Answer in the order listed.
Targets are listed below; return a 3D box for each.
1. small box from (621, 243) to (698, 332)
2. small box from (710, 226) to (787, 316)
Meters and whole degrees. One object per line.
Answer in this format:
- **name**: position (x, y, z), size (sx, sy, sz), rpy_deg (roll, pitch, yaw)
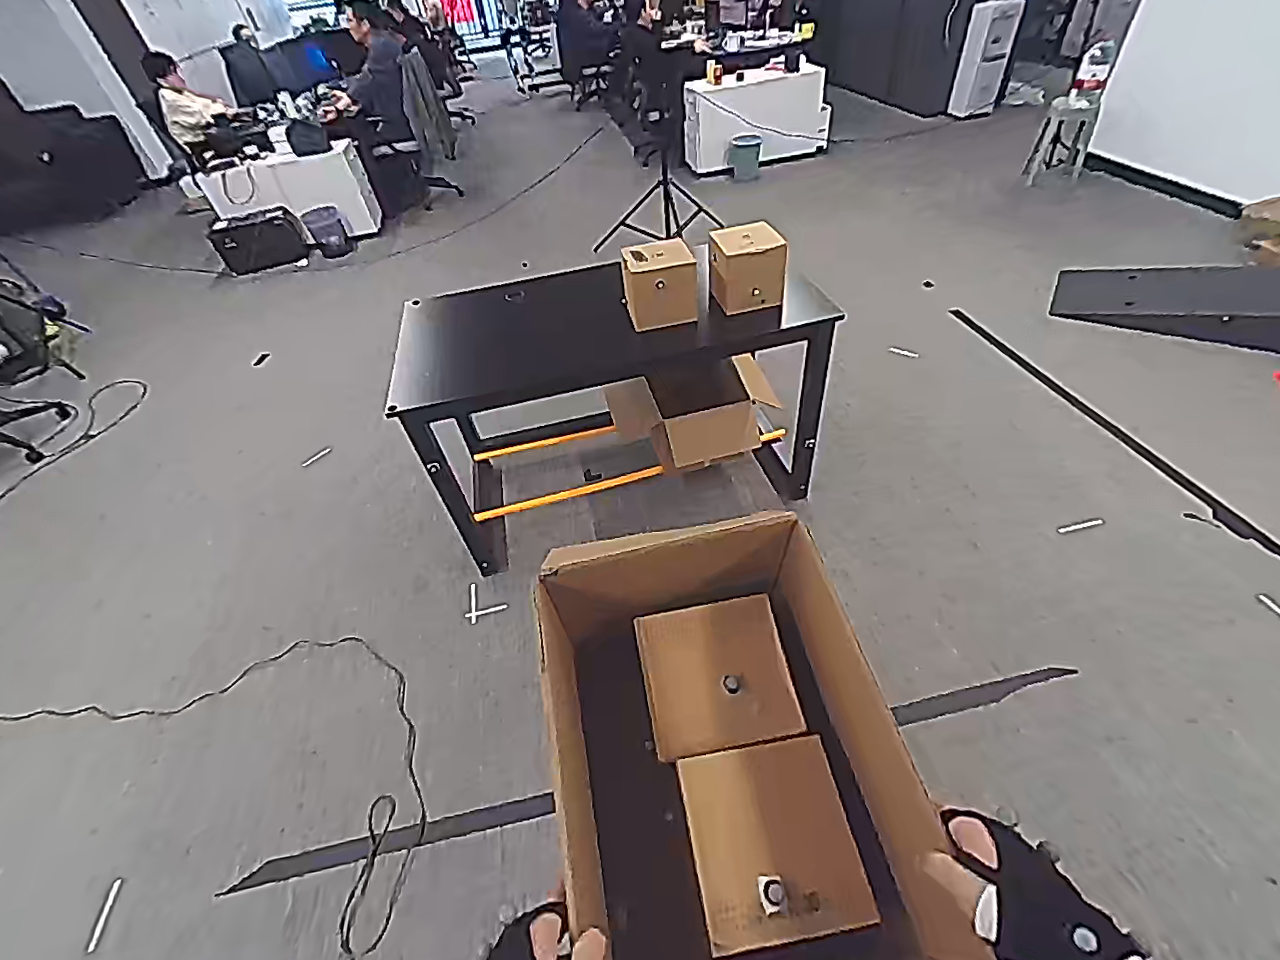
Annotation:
- **small box**: position (0.054, -0.525, 1.483), size (0.179, 0.176, 0.168), rpy_deg (-11, 45, -4)
- **small box**: position (0.294, -0.577, 1.497), size (0.168, 0.176, 0.179), rpy_deg (-12, 45, -3)
